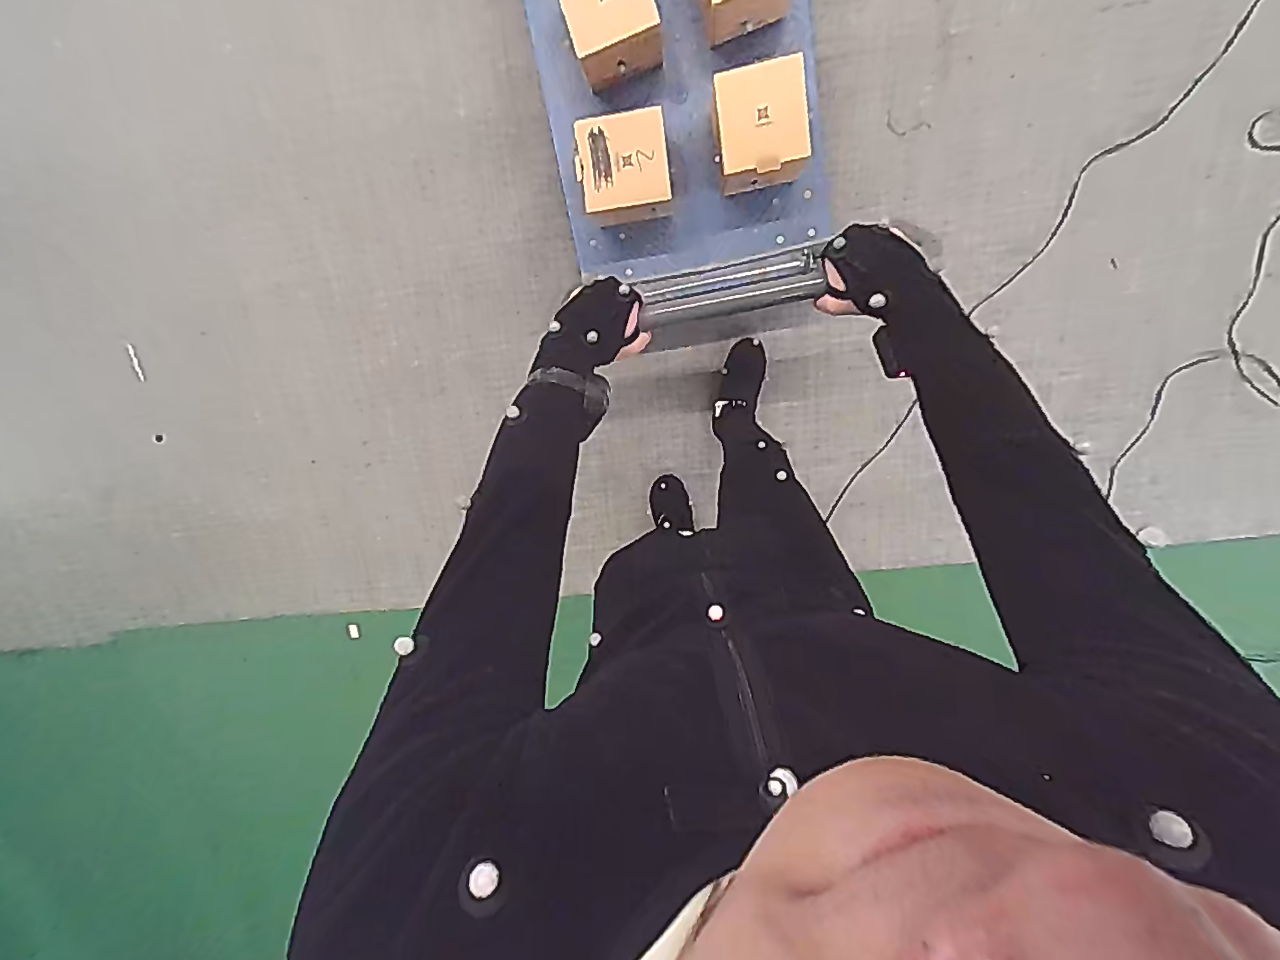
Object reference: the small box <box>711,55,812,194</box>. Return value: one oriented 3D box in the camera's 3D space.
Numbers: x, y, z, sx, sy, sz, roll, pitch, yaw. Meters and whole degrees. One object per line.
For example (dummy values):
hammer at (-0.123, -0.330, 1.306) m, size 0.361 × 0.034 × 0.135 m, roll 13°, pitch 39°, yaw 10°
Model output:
small box at (0.240, -0.707, 1.096) m, size 0.168 × 0.176 × 0.179 m, roll -9°, pitch 106°, yaw 8°

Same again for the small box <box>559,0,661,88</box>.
small box at (-0.060, -0.911, 1.061) m, size 0.168 × 0.176 × 0.179 m, roll -17°, pitch 104°, yaw 9°

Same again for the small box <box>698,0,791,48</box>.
small box at (0.189, -0.978, 1.021) m, size 0.168 × 0.176 × 0.179 m, roll -16°, pitch 105°, yaw 10°
